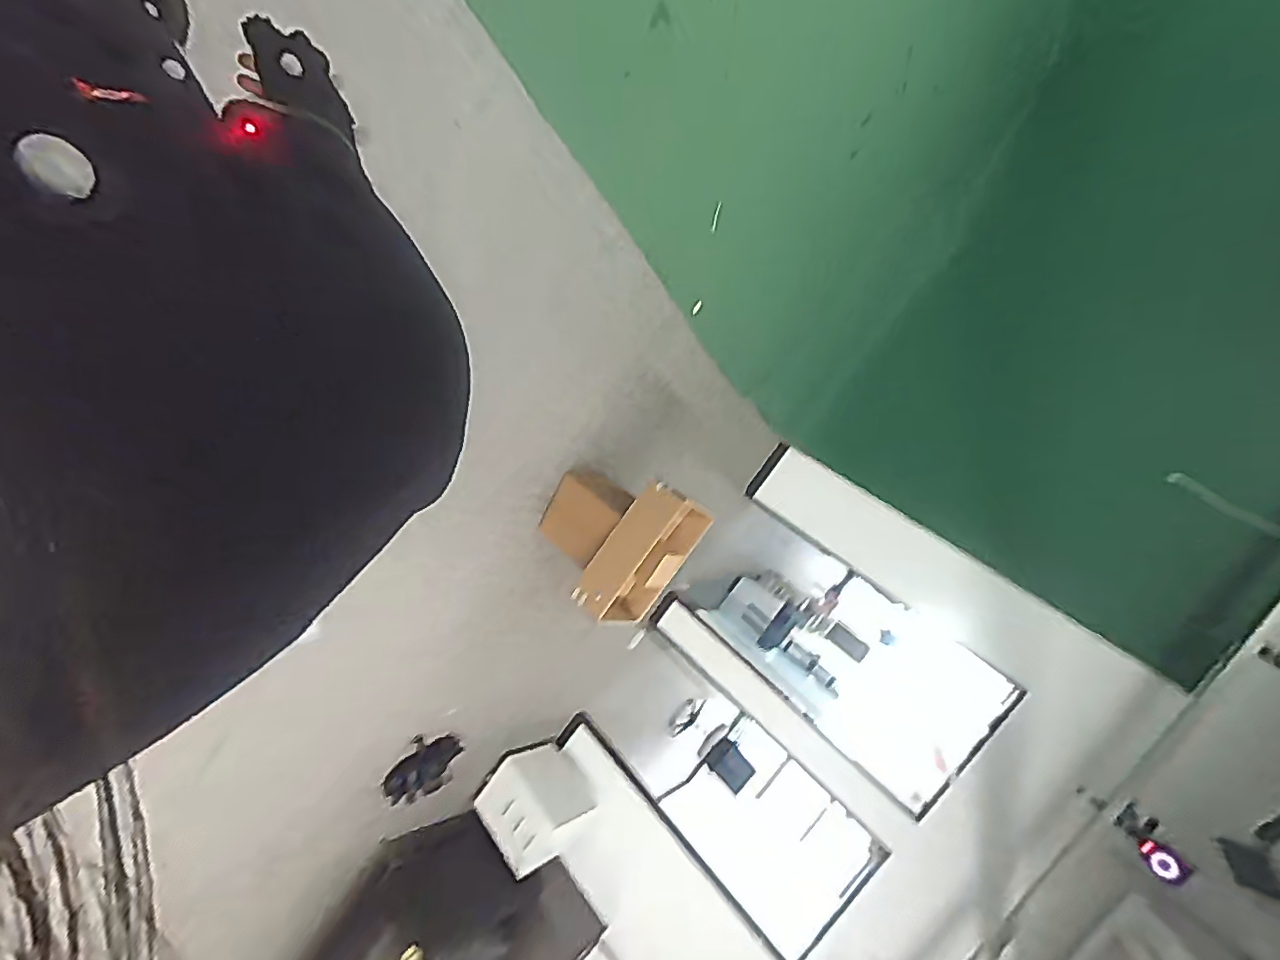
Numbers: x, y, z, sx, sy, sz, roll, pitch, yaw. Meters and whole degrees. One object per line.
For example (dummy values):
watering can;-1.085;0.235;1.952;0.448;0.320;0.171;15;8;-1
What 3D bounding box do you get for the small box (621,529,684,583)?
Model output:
small box;0.052;0.324;2.321;0.168;0.176;0.179;-57;150;7
